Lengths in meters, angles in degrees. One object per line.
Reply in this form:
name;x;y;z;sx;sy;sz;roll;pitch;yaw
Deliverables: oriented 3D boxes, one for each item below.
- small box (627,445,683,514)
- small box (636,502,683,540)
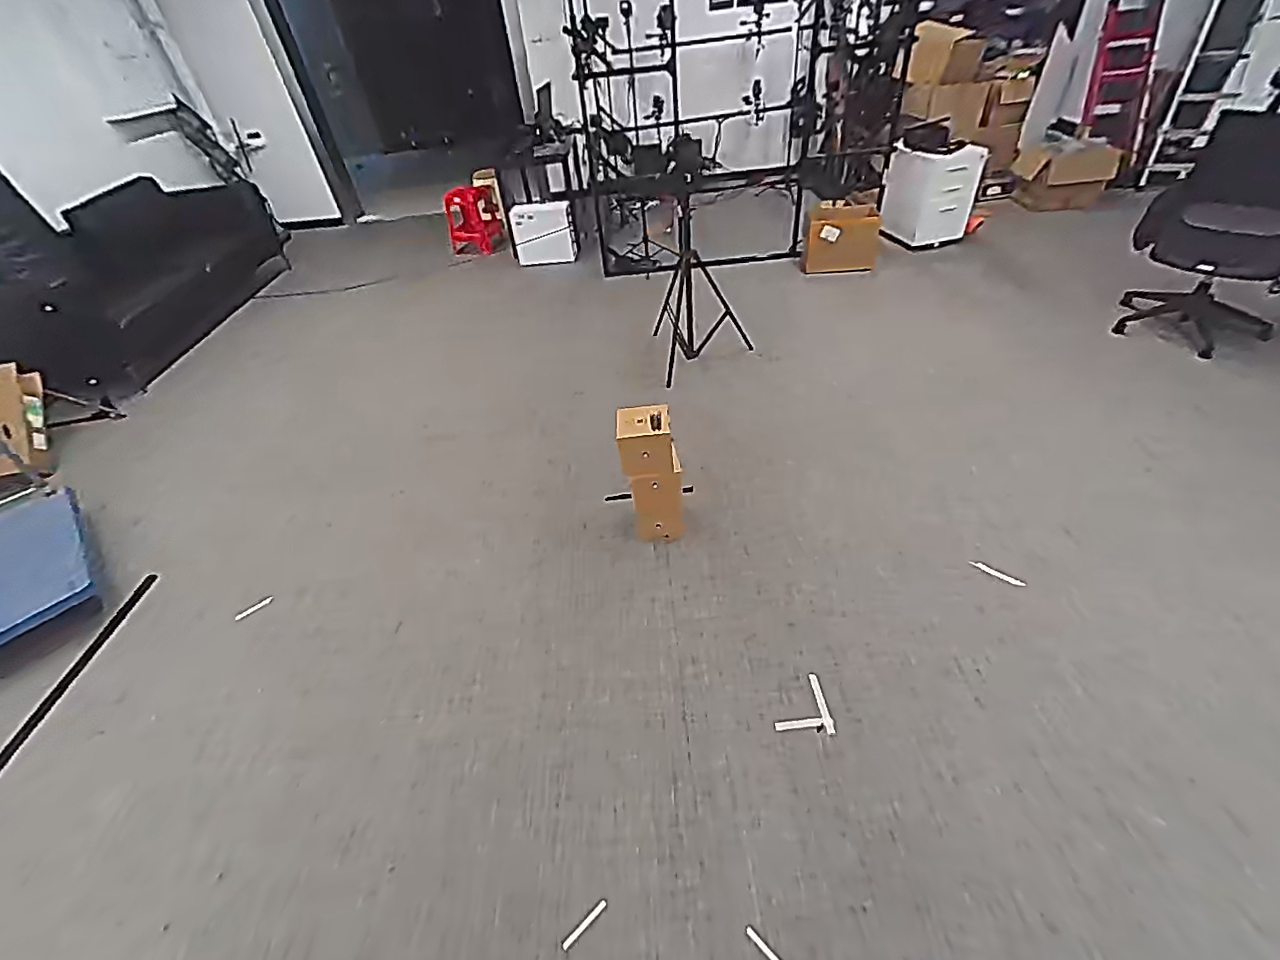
small box;0.055;0.000;1.937;0.179;0.176;0.168;-10;41;-2
small box;0.076;0.115;2.050;0.168;0.176;0.179;-4;41;4
